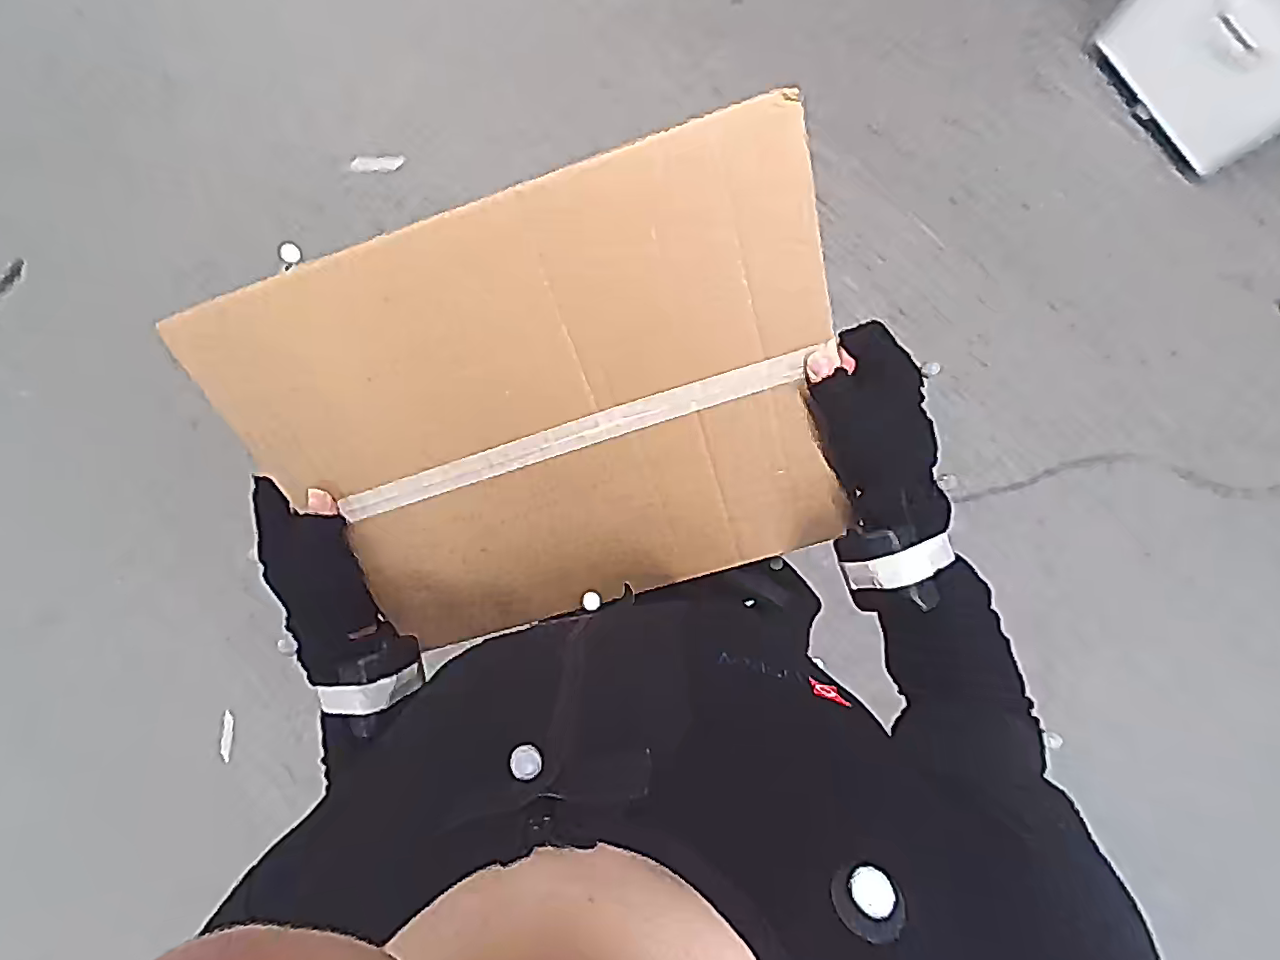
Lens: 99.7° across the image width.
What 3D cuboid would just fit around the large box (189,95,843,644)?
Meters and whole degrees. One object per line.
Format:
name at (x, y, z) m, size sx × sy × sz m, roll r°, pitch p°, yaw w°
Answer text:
large box at (-0.074, -0.106, 0.530) m, size 0.408 × 0.320 × 0.320 m, roll -18°, pitch 121°, yaw 7°
